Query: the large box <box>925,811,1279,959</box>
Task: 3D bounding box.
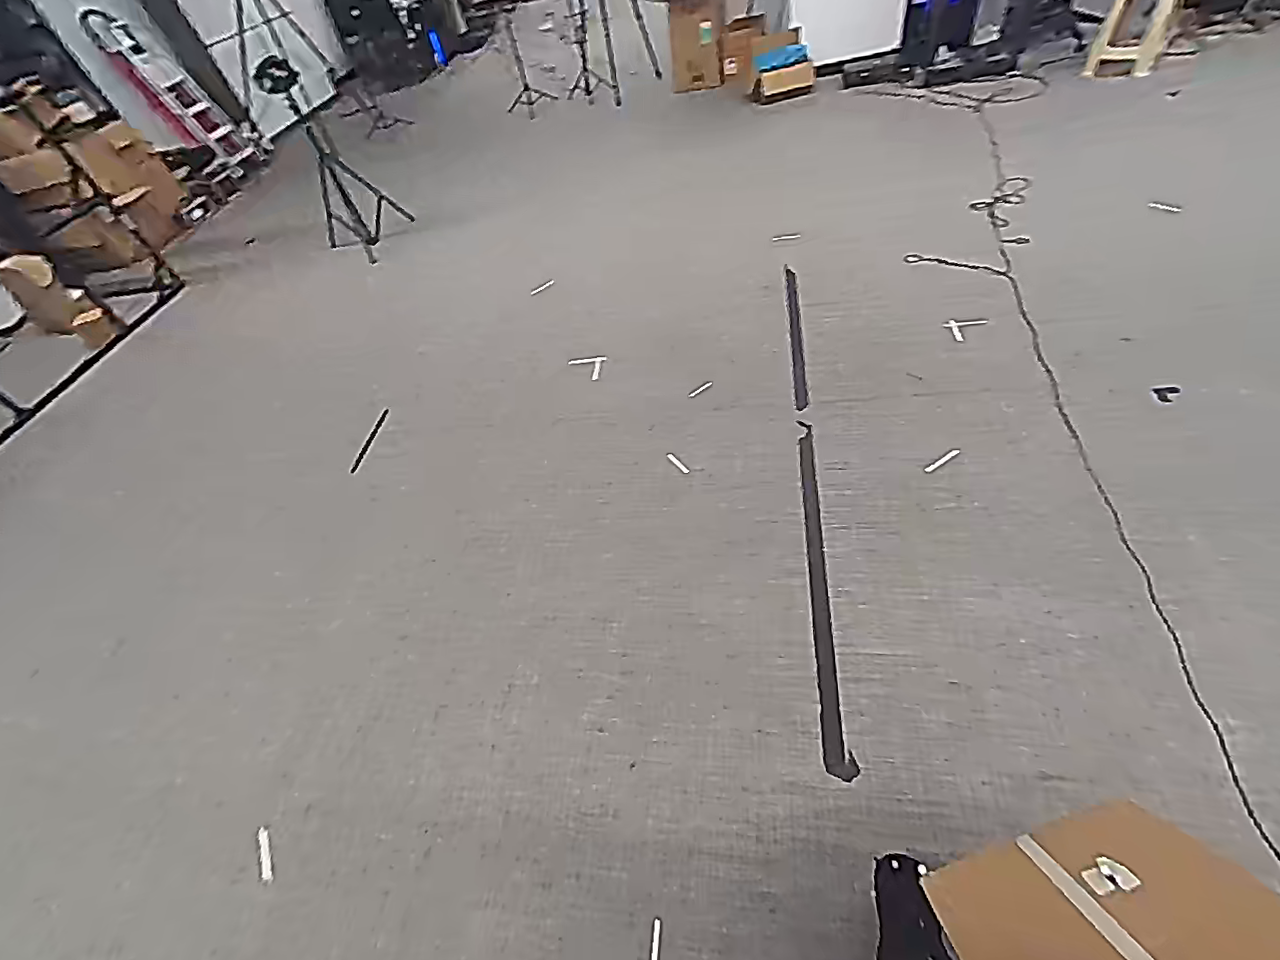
[{"bbox_3d":[0.578,0.633,0.554,0.320,0.408,0.320,-25,77,6],"label":"large box"}]
